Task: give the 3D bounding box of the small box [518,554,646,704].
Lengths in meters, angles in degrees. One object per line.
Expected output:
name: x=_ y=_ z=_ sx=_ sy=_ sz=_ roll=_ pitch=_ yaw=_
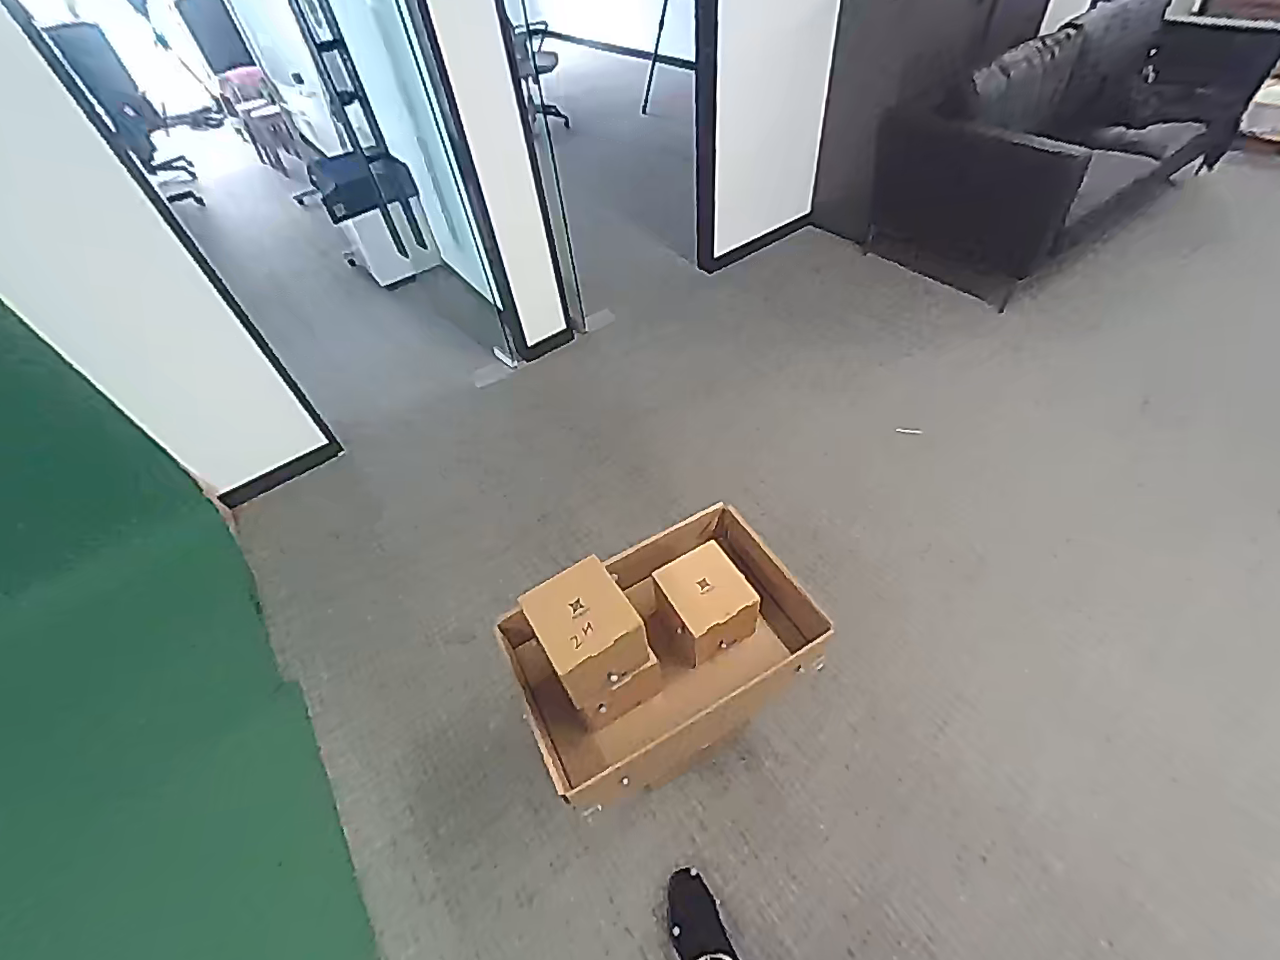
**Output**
small box: x=-0.103 y=0.278 z=1.003 sx=0.168 sy=0.176 sz=0.179 roll=-28 pitch=54 yaw=-17
